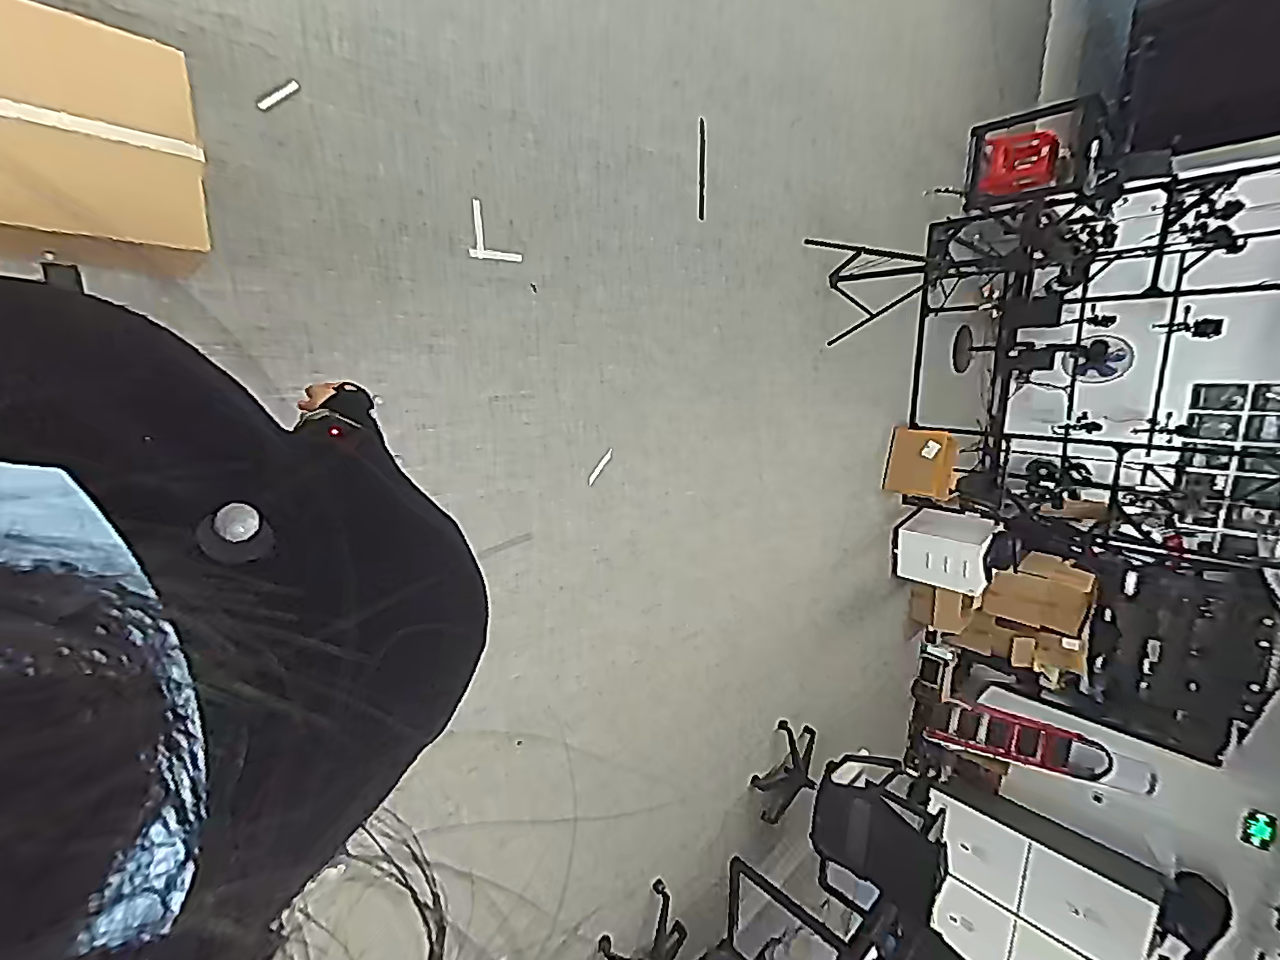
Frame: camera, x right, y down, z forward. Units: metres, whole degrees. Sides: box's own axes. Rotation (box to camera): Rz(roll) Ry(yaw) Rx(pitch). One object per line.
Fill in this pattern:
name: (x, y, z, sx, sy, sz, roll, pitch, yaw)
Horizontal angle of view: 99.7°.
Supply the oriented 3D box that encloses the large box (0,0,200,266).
large box: (-1.001, -0.547, 0.872, 0.408, 0.320, 0.320, -10, 103, -43)
